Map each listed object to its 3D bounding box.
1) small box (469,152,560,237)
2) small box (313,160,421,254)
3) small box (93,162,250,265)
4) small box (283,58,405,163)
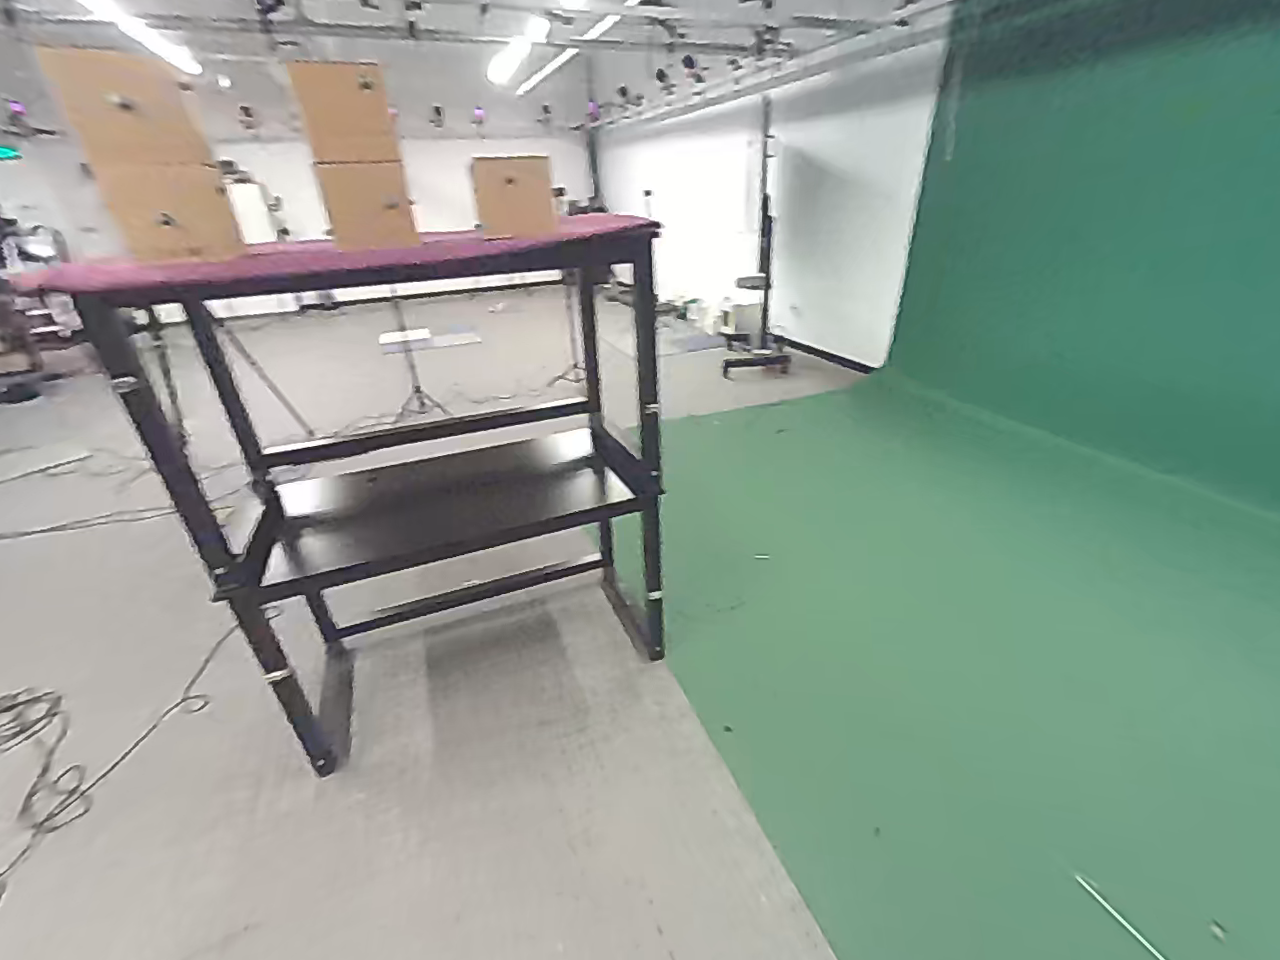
[{"bbox_3d":[-0.304,-0.687,1.314,0.179,0.176,0.168,-12,28,-17],"label":"small box"},{"bbox_3d":[-0.592,-0.603,1.193,0.179,0.176,0.168,-15,30,-19],"label":"small box"},{"bbox_3d":[-0.895,-0.519,1.056,0.168,0.176,0.179,-13,31,-21],"label":"small box"},{"bbox_3d":[-0.603,-0.748,1.117,0.179,0.176,0.168,-15,30,-21],"label":"small box"}]
